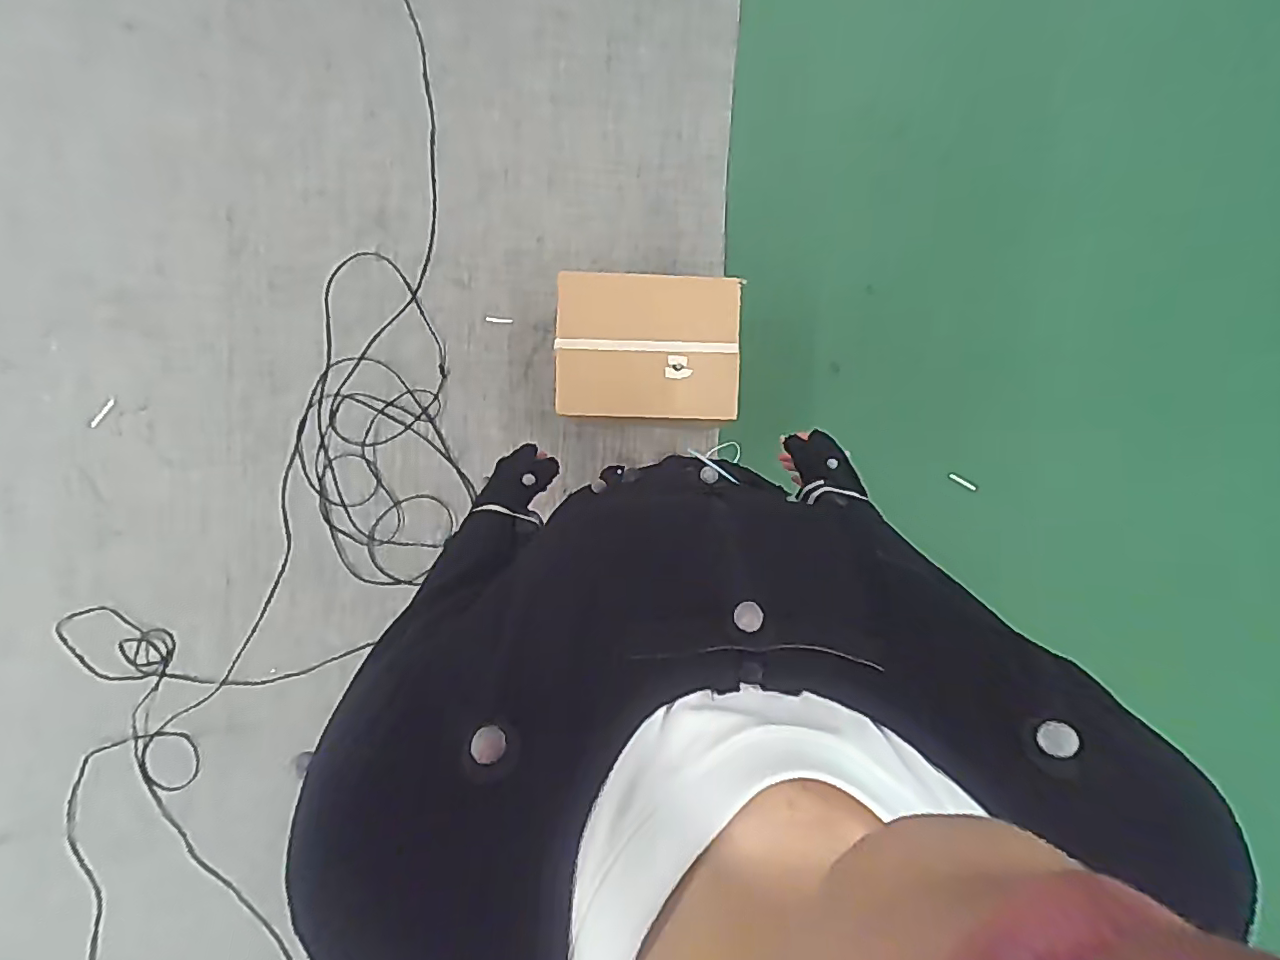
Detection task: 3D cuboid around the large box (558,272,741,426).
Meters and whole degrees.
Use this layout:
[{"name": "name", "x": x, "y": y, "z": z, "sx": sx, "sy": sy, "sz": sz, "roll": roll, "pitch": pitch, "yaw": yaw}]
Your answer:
[{"name": "large box", "x": 0.014, "y": -0.299, "z": 1.332, "sx": 0.408, "sy": 0.320, "sz": 0.320, "roll": 1, "pitch": 92, "yaw": -2}]
